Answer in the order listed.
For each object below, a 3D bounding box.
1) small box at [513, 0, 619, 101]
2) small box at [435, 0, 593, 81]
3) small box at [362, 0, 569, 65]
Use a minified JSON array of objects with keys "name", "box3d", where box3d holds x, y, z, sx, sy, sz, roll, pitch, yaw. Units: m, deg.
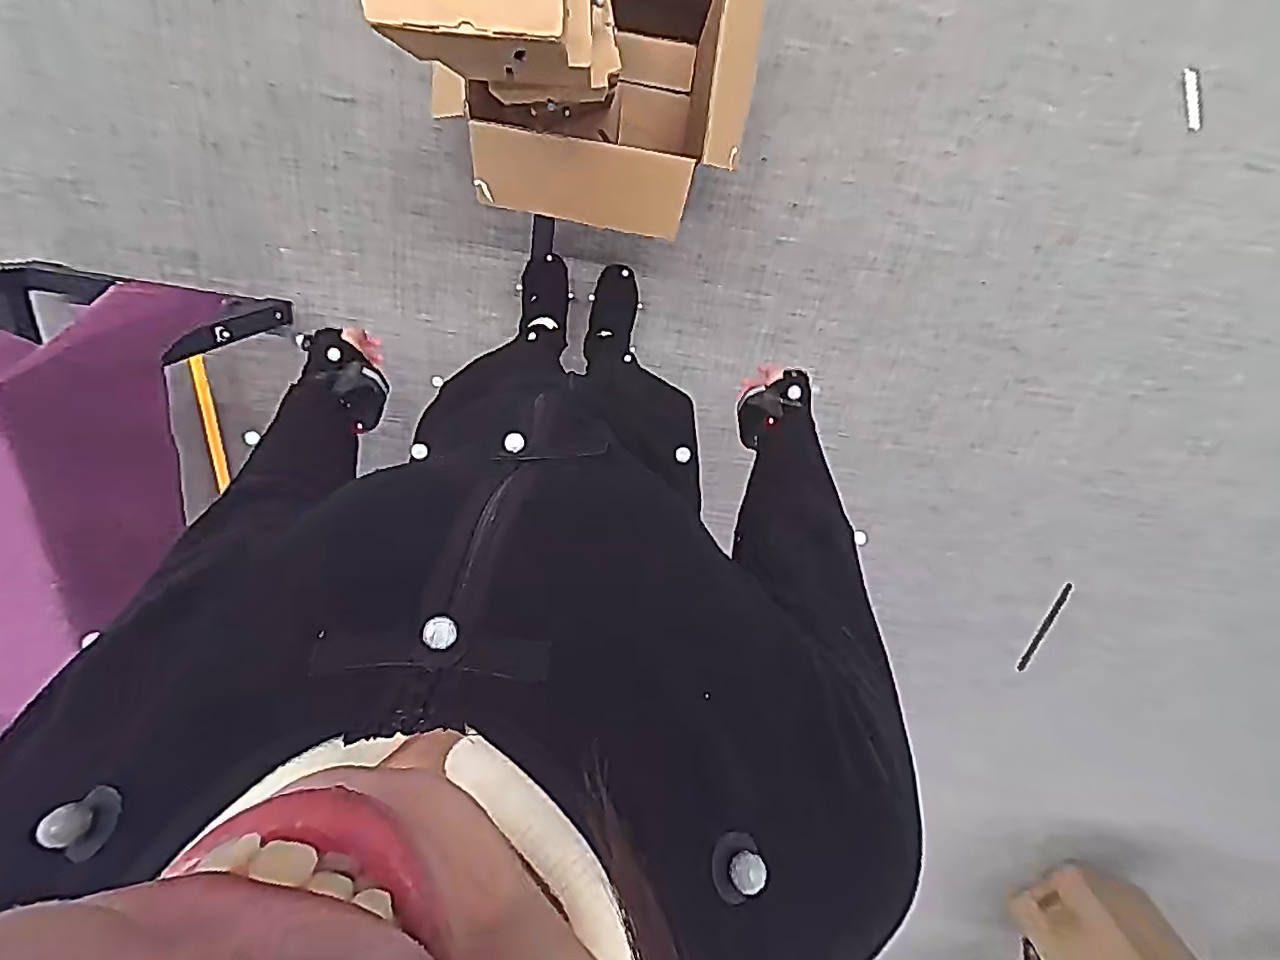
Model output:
[{"name":"small box","box3d":[-0.138,-0.753,0.900,0.179,0.176,0.168,-13,120,1]},{"name":"small box","box3d":[-0.143,-0.573,0.623,0.179,0.176,0.168,0,121,-6]},{"name":"small box","box3d":[-0.148,-0.492,0.480,0.168,0.176,0.179,0,120,-7]}]
